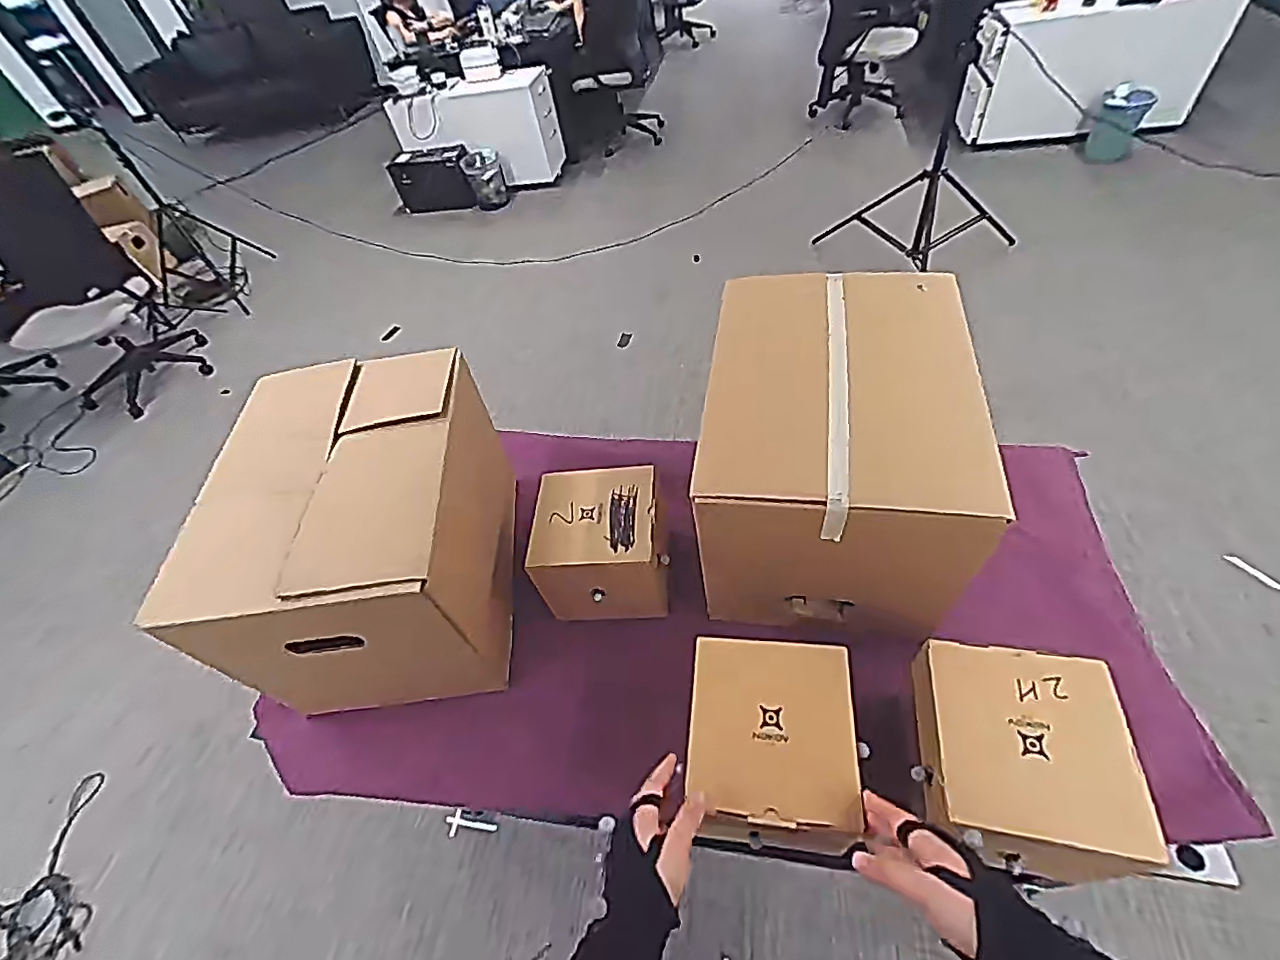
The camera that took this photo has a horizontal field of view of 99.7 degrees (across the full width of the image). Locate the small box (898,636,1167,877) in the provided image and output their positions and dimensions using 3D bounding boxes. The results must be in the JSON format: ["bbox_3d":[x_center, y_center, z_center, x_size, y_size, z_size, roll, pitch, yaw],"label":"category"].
[{"bbox_3d":[0.378,0.289,0.566,0.168,0.176,0.179,4,50,15],"label":"small box"}]
